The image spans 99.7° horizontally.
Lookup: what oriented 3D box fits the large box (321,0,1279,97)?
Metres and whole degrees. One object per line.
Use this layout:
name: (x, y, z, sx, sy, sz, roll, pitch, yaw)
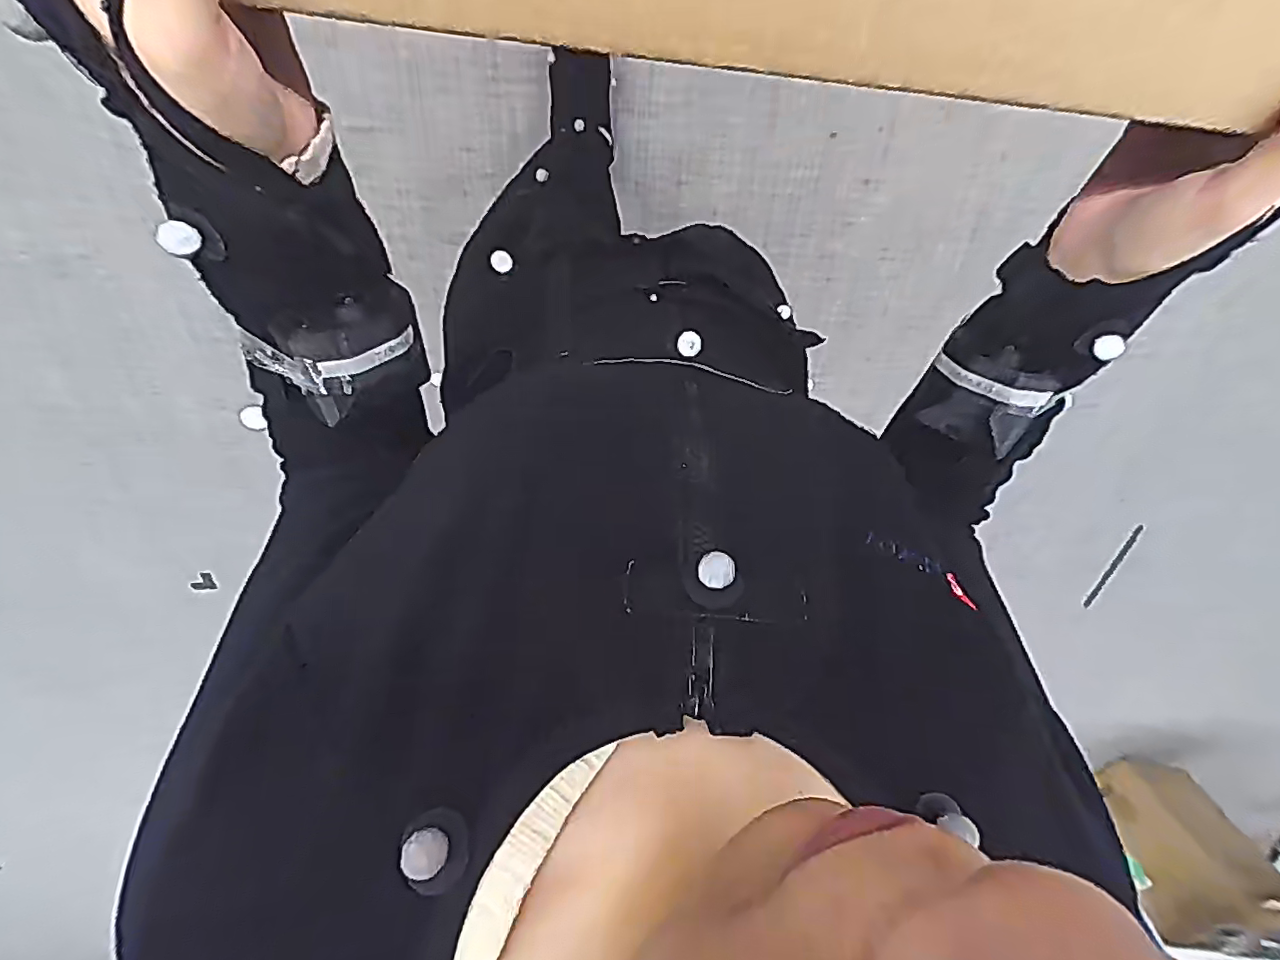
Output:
large box: (0.066, -0.352, 0.141, 0.408, 0.320, 0.320, 1, 145, -7)
